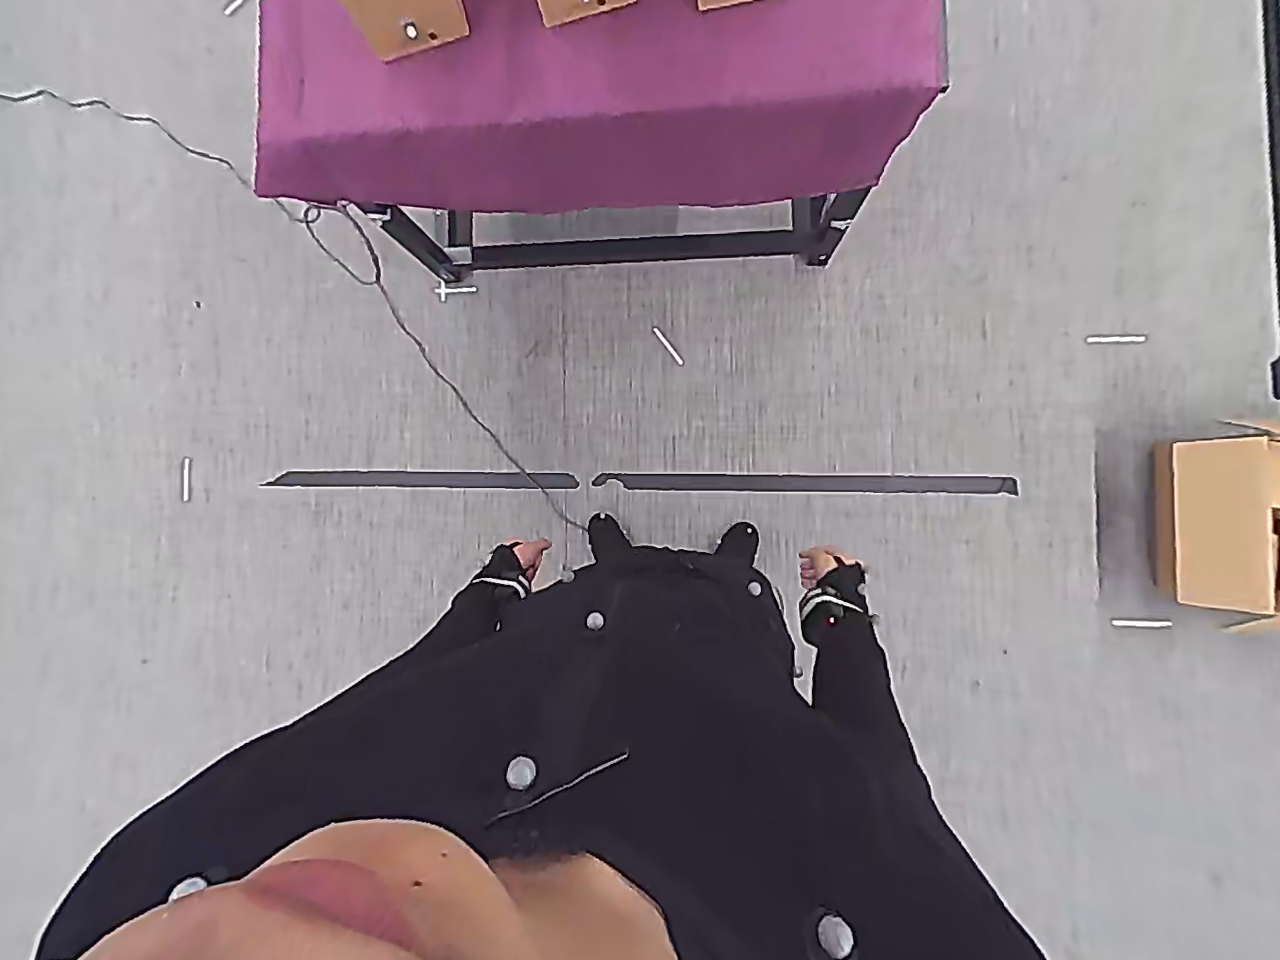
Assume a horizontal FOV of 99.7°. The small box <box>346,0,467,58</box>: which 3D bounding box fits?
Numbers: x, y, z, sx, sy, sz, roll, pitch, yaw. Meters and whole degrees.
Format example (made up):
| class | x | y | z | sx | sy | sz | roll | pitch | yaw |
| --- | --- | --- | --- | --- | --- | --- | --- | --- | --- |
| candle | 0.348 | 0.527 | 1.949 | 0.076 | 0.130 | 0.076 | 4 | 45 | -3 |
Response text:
| class | x | y | z | sx | sy | sz | roll | pitch | yaw |
| --- | --- | --- | --- | --- | --- | --- | --- | --- | --- |
| small box | -0.405 | -0.850 | 0.878 | 0.168 | 0.176 | 0.179 | -14 | 88 | 5 |
